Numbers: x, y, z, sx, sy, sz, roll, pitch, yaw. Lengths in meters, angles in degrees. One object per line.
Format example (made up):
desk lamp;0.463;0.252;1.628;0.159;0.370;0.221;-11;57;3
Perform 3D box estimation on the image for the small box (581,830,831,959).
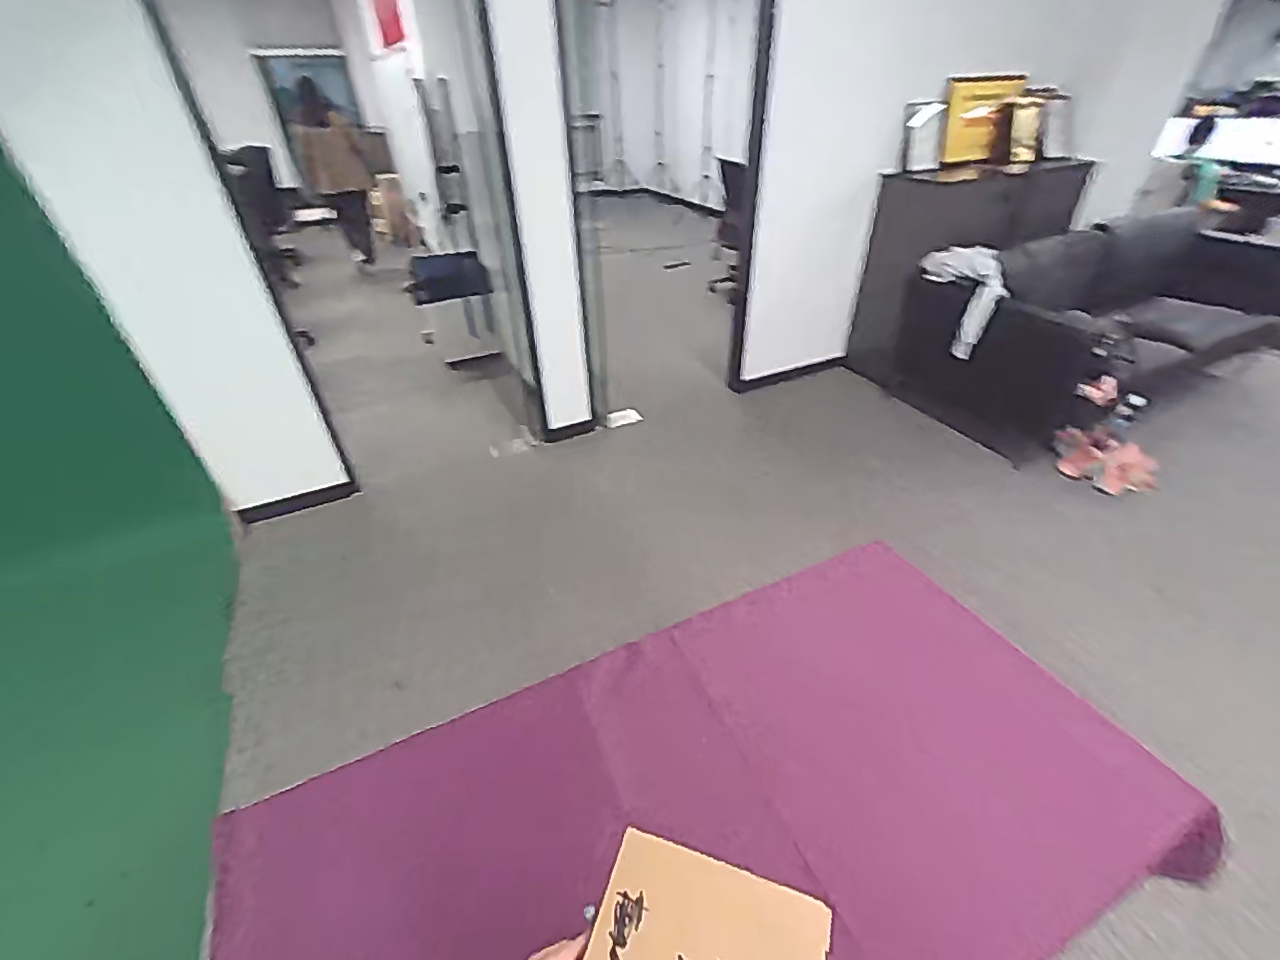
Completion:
small box;0.041;0.436;0.443;0.179;0.176;0.168;14;40;17
